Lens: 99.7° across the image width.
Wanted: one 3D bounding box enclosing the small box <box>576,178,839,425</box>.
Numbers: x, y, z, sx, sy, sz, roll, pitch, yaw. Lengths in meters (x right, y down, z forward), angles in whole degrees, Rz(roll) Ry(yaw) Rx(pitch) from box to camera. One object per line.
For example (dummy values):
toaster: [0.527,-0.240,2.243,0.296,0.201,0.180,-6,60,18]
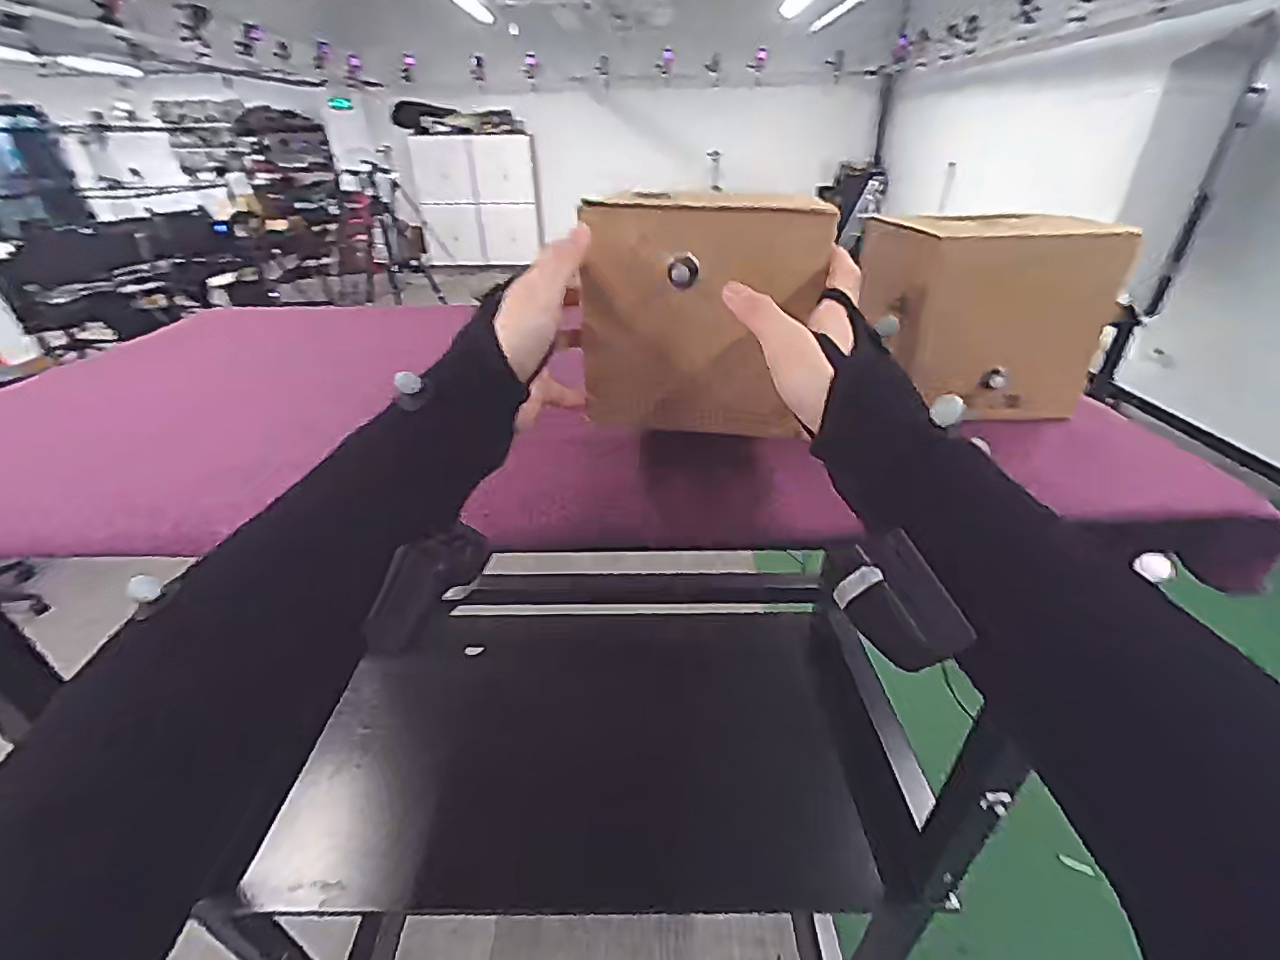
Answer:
small box: [0.054,-0.157,0.460,0.179,0.176,0.168,5,33,7]
